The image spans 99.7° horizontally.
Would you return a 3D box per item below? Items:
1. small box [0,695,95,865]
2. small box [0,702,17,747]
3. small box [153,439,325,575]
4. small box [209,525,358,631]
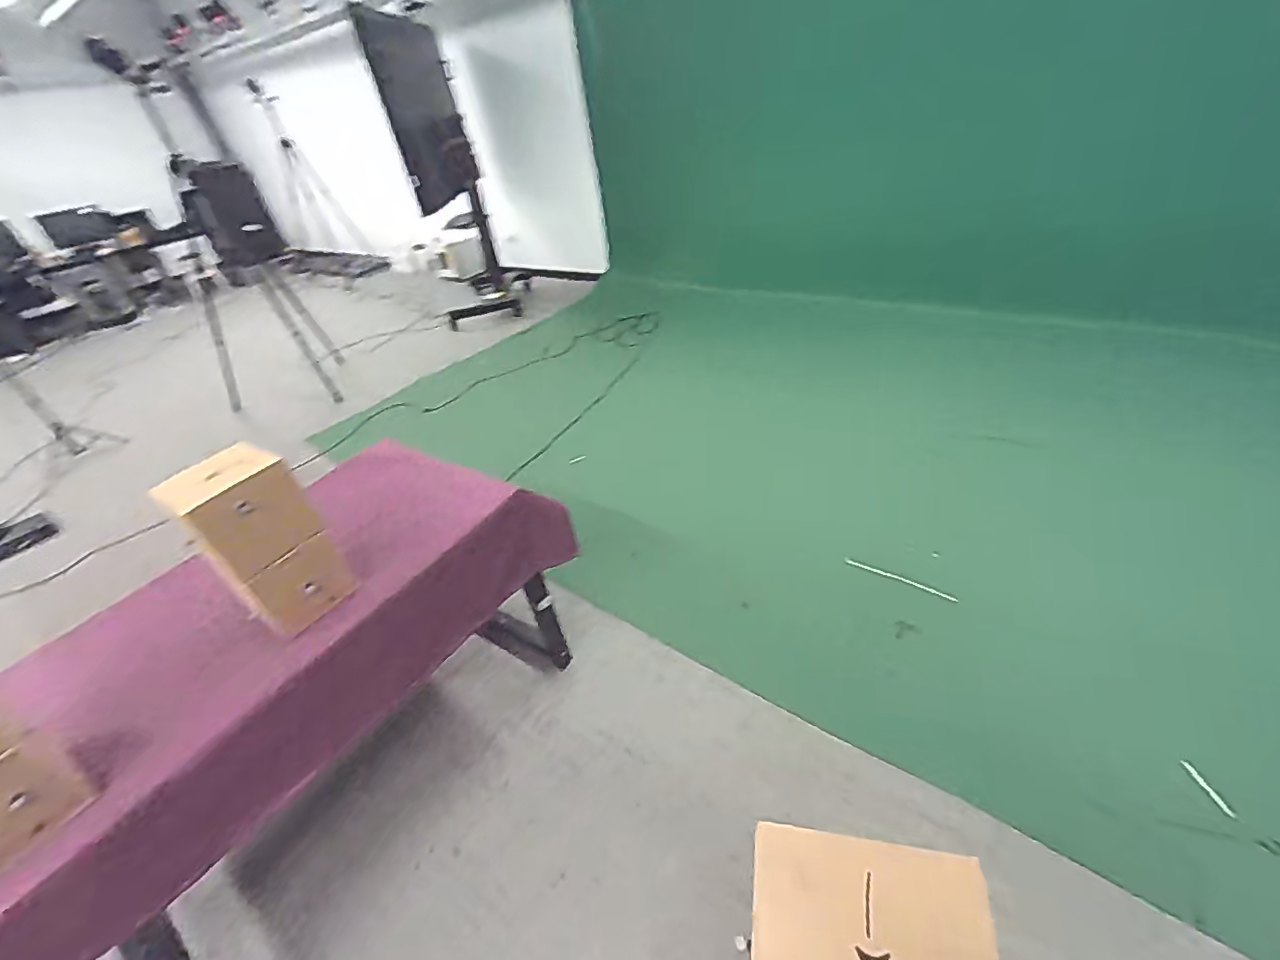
[{"bbox_3d":[-0.984,0.459,0.807,0.179,0.176,0.168,15,42,30],"label":"small box"},{"bbox_3d":[-1.008,0.332,0.709,0.168,0.176,0.179,14,41,28],"label":"small box"},{"bbox_3d":[-0.746,0.050,1.022,0.168,0.176,0.179,17,44,31],"label":"small box"},{"bbox_3d":[-0.727,0.183,1.120,0.179,0.176,0.168,17,44,31],"label":"small box"}]
